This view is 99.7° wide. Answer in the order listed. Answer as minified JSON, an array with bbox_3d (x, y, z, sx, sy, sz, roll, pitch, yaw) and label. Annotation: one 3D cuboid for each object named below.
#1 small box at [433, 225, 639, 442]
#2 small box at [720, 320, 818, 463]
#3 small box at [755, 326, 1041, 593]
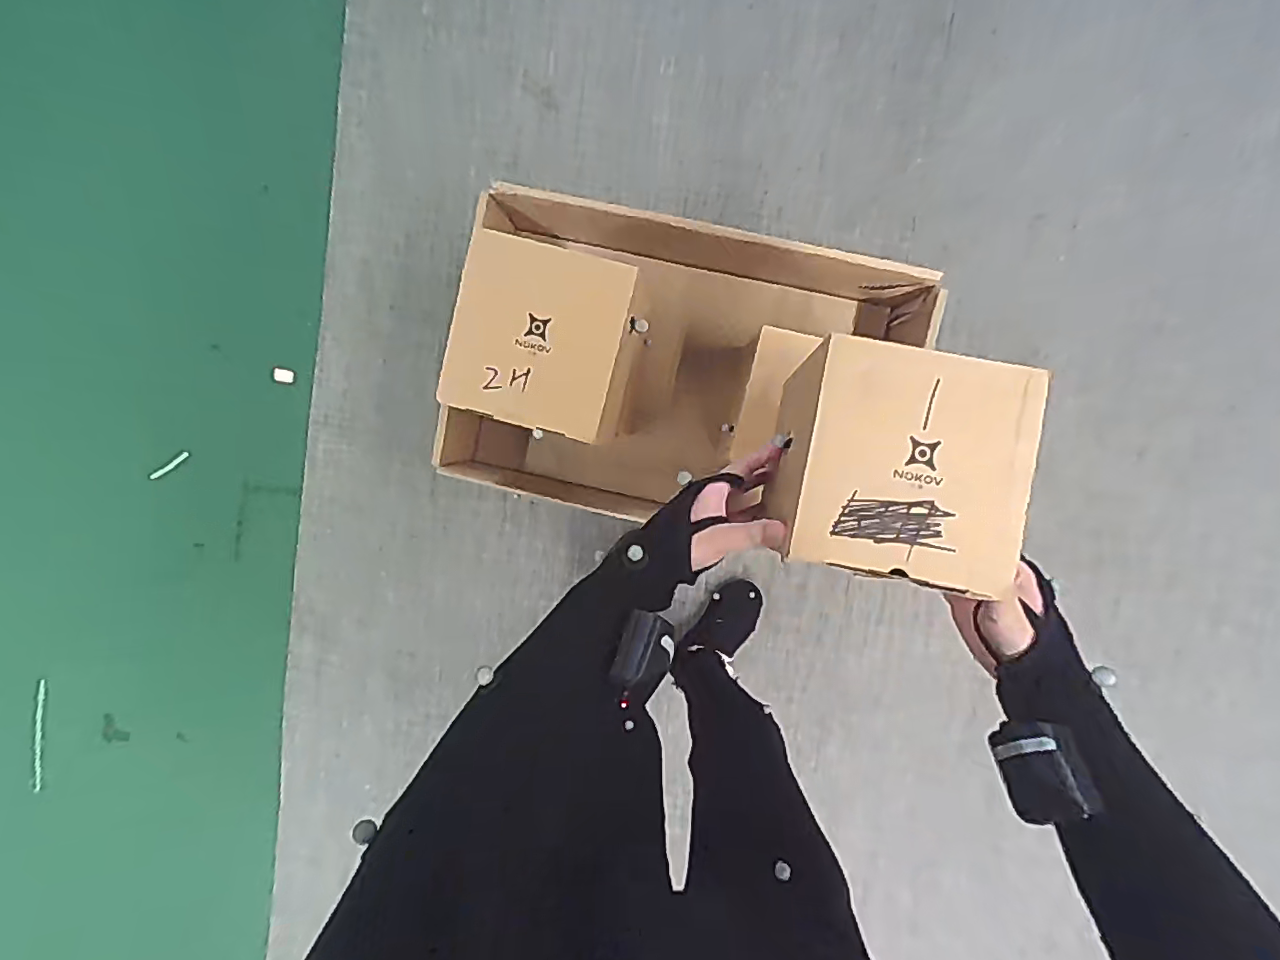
[{"bbox_3d":[-0.100,-0.148,0.600,0.168,0.176,0.179,15,97,3],"label":"small box"},{"bbox_3d":[0.213,-0.105,0.751,0.168,0.176,0.179,13,97,2],"label":"small box"},{"bbox_3d":[0.205,-0.014,0.482,0.168,0.176,0.179,11,88,3],"label":"small box"}]
